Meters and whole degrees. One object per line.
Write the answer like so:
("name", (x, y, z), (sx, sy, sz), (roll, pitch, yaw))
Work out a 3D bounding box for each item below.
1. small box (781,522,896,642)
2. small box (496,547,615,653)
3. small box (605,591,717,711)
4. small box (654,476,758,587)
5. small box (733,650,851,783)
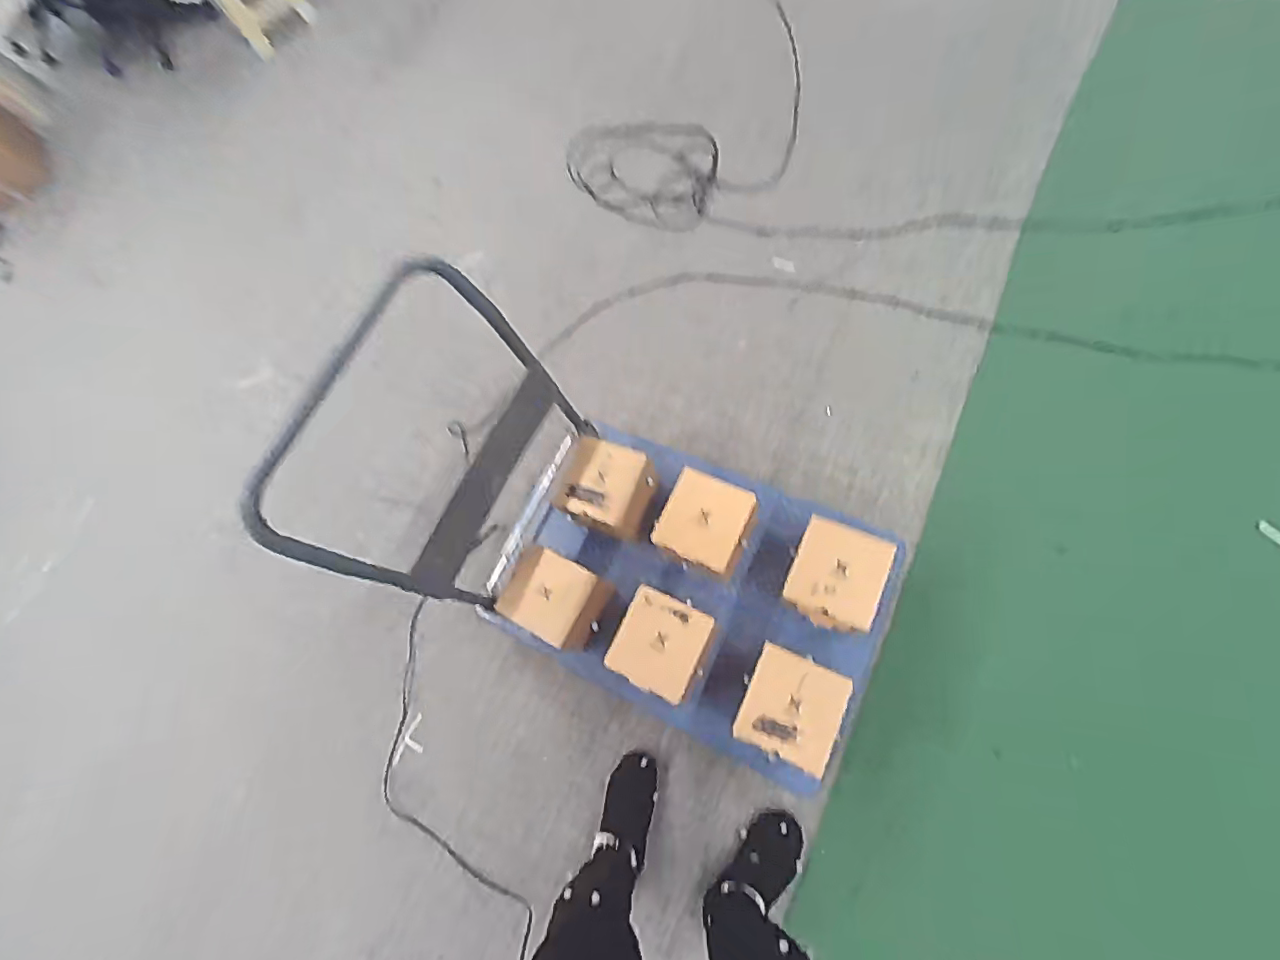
("small box", (0.396, 0.214, 1.108), (0.168, 0.176, 0.179), (22, 75, 19))
("small box", (-0.181, 0.276, 1.210), (0.179, 0.176, 0.168), (25, 77, 18))
("small box", (0.054, 0.356, 1.130), (0.168, 0.176, 0.179), (23, 77, 18))
("small box", (0.151, 0.120, 1.199), (0.168, 0.176, 0.179), (23, 78, 18))
("small box", (0.294, 0.455, 1.061), (0.168, 0.176, 0.179), (22, 75, 18))
